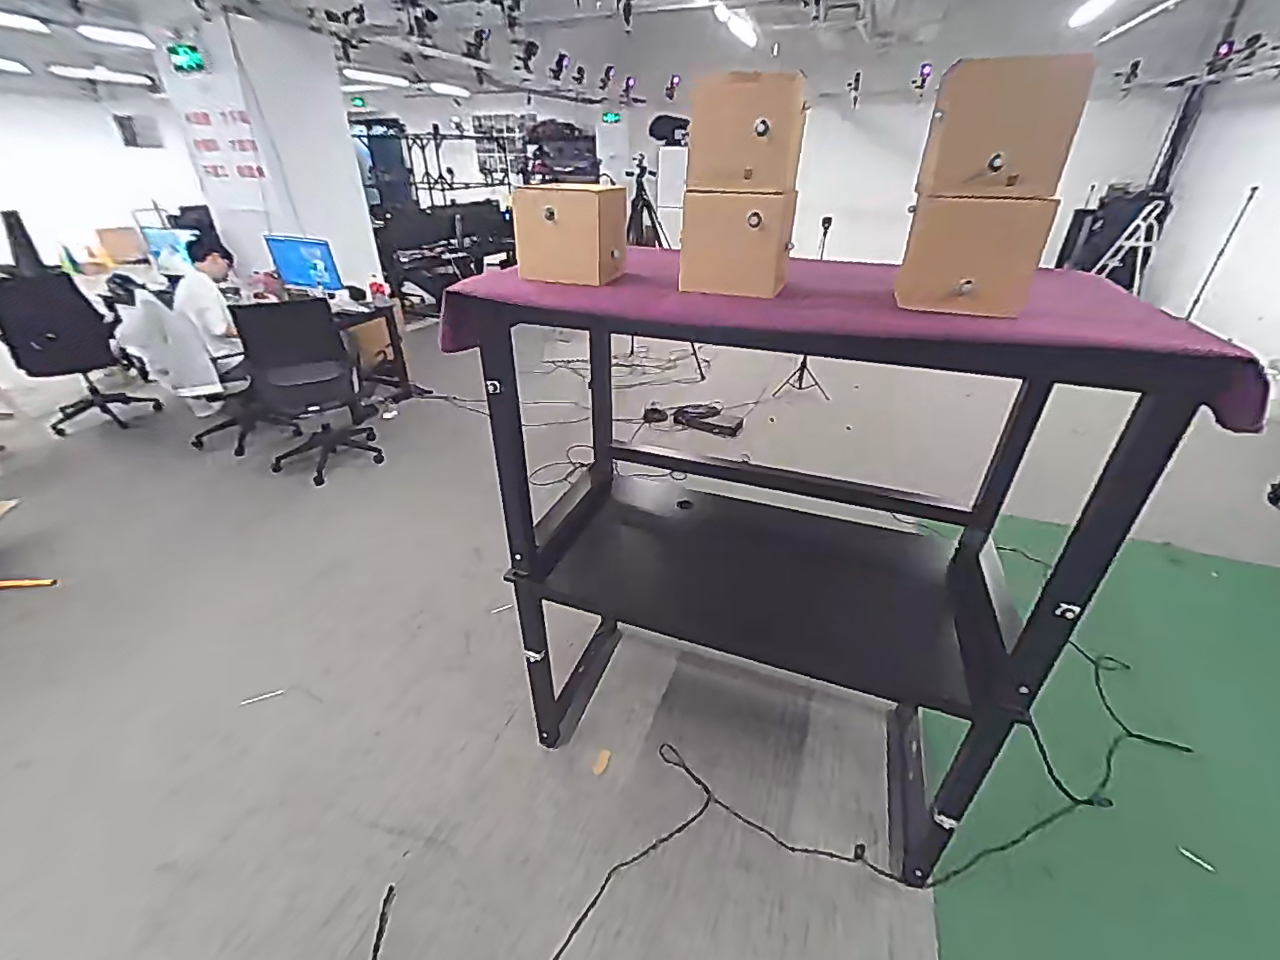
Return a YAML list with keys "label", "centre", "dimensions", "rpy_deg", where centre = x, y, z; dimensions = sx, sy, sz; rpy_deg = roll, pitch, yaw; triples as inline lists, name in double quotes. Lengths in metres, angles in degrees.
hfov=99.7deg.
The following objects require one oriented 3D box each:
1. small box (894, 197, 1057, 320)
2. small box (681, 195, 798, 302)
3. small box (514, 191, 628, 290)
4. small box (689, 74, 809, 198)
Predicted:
- label: "small box"
  centre: [0.532, -0.365, 0.886]
  dimensions: [0.179, 0.176, 0.168]
  rpy_deg: [11, 30, 17]
- label: "small box"
  centre: [0.183, -0.432, 1.001]
  dimensions: [0.179, 0.176, 0.168]
  rpy_deg: [11, 31, 18]
- label: "small box"
  centre: [-0.132, -0.485, 1.091]
  dimensions: [0.179, 0.176, 0.168]
  rpy_deg: [10, 31, 15]
- label: "small box"
  centre: [0.186, -0.577, 0.927]
  dimensions: [0.168, 0.176, 0.179]
  rpy_deg: [12, 31, 17]
